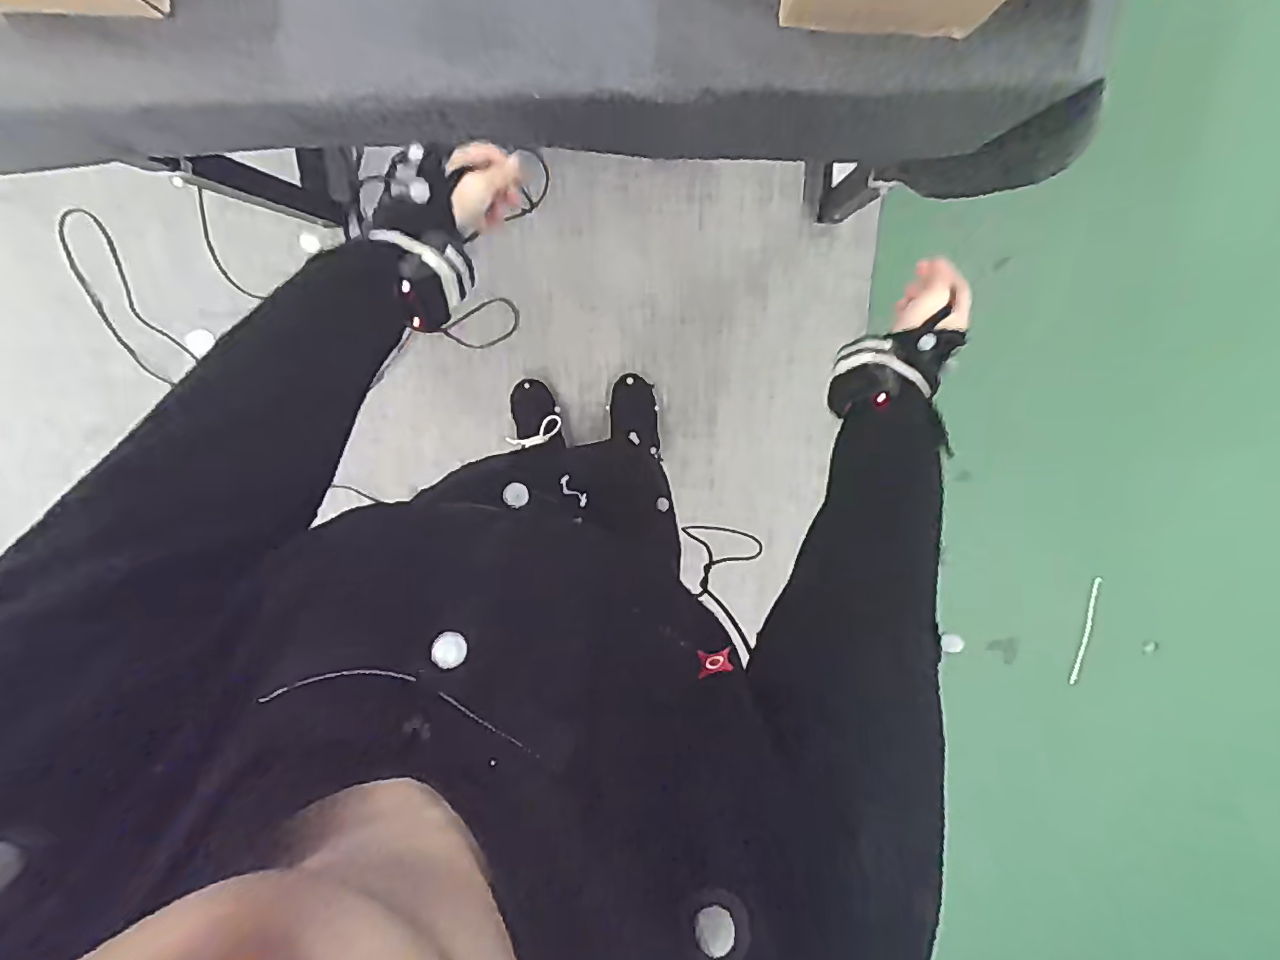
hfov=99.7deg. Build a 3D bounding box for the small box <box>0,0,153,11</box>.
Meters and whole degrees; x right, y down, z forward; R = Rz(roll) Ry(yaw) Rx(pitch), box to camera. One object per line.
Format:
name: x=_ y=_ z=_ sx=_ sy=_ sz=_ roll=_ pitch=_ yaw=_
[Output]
small box: x=-0.531 y=-0.506 z=0.416 sx=0.179 sy=0.176 sz=0.168 roll=3 pitch=104 yaw=0
